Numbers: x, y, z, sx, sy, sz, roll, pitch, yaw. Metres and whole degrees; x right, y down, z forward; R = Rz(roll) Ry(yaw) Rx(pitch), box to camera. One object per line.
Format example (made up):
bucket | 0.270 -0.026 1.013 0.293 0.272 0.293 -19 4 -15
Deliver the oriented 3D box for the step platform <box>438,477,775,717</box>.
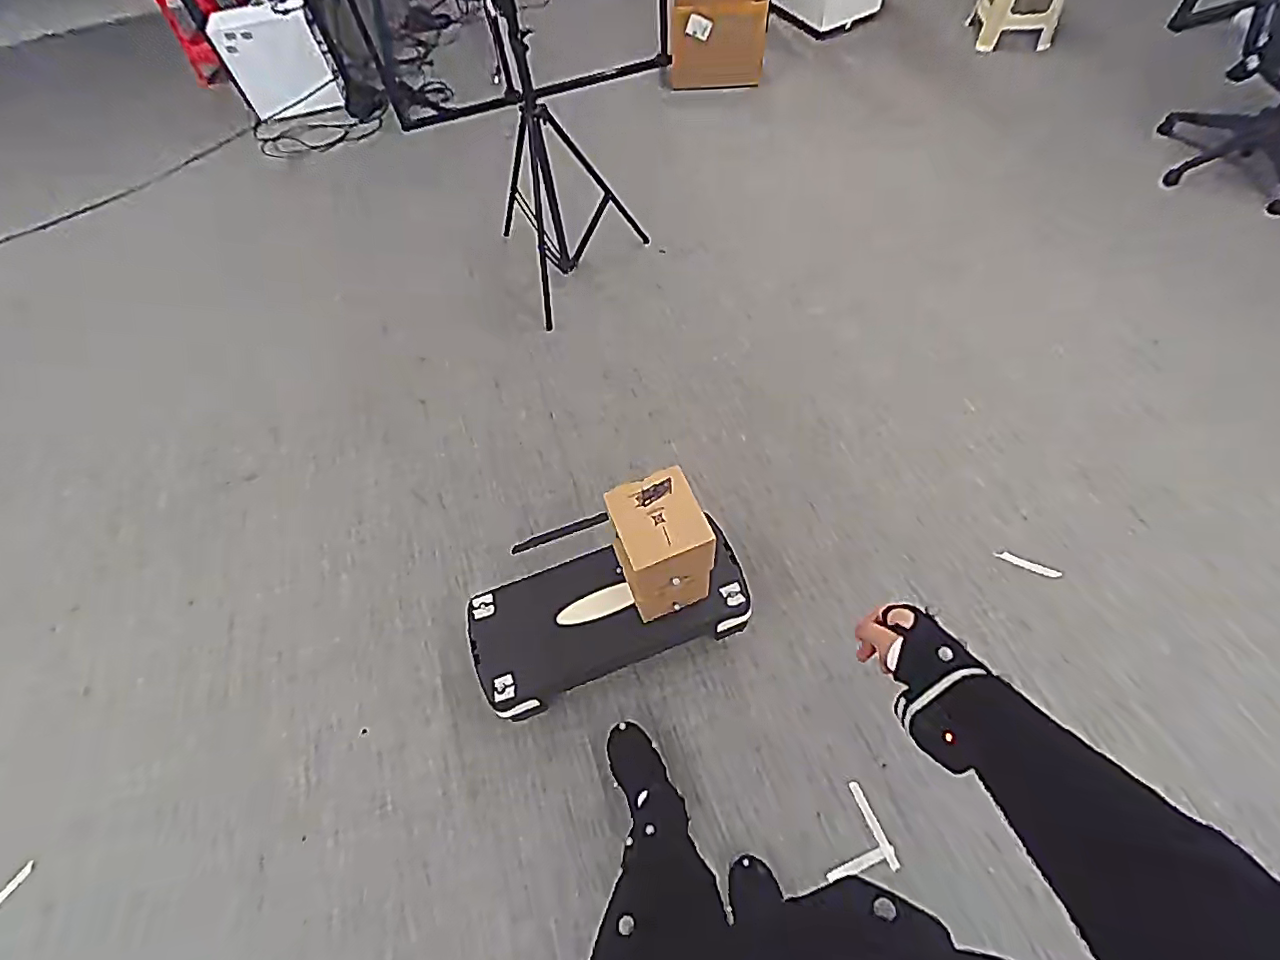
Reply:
step platform | -0.067 0.253 1.178 0.684 0.204 0.286 -20 60 -7

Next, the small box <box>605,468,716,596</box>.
small box | 0.040 0.110 1.101 0.168 0.176 0.179 -21 62 -7

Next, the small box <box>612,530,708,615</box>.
small box | 0.045 0.196 1.241 0.168 0.176 0.179 -21 62 -6
